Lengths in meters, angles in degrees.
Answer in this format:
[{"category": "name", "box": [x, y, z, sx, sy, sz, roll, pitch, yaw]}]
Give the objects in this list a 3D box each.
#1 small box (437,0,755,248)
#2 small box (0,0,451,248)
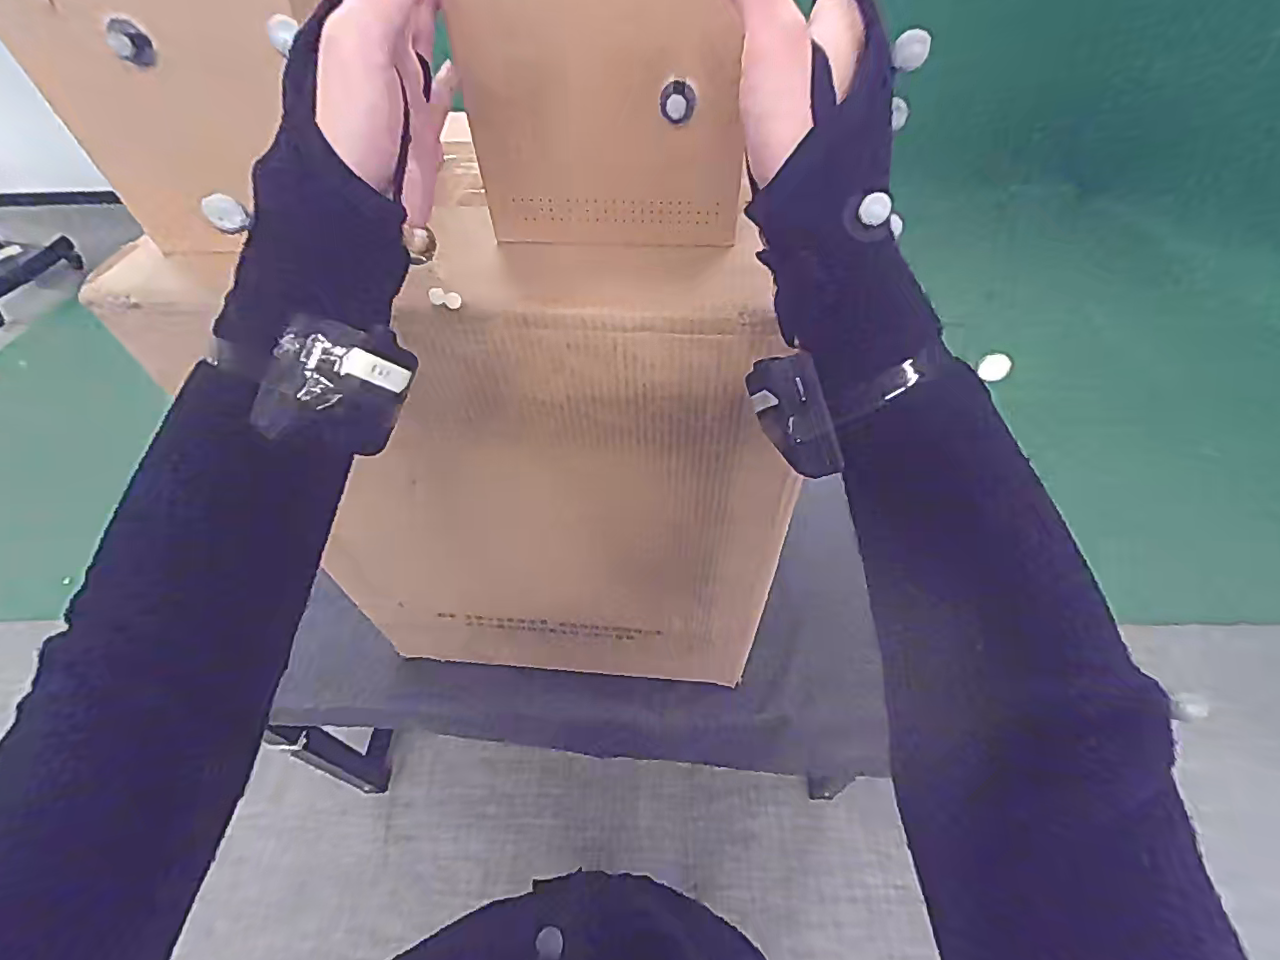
[{"category": "small box", "box": [-0.017, -0.283, 0.386, 0.179, 0.176, 0.168, 3, 51, 5]}, {"category": "small box", "box": [-0.268, -0.288, 0.395, 0.179, 0.176, 0.168, 2, 54, 6]}]
